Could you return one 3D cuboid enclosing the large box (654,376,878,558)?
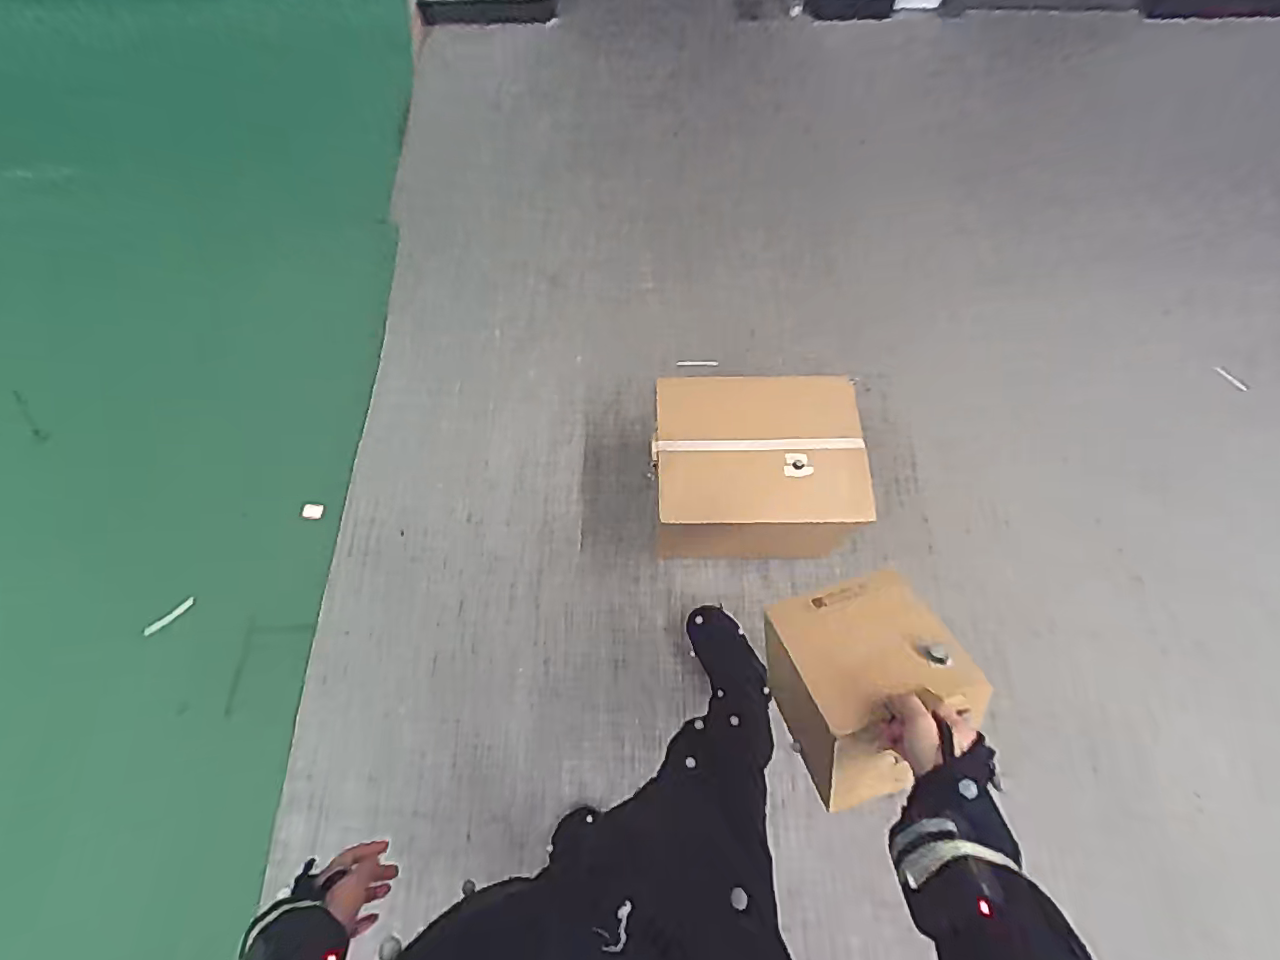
[{"bbox_3d":[0.239,-0.014,1.185,0.408,0.320,0.320,0,71,-1],"label":"large box"}]
